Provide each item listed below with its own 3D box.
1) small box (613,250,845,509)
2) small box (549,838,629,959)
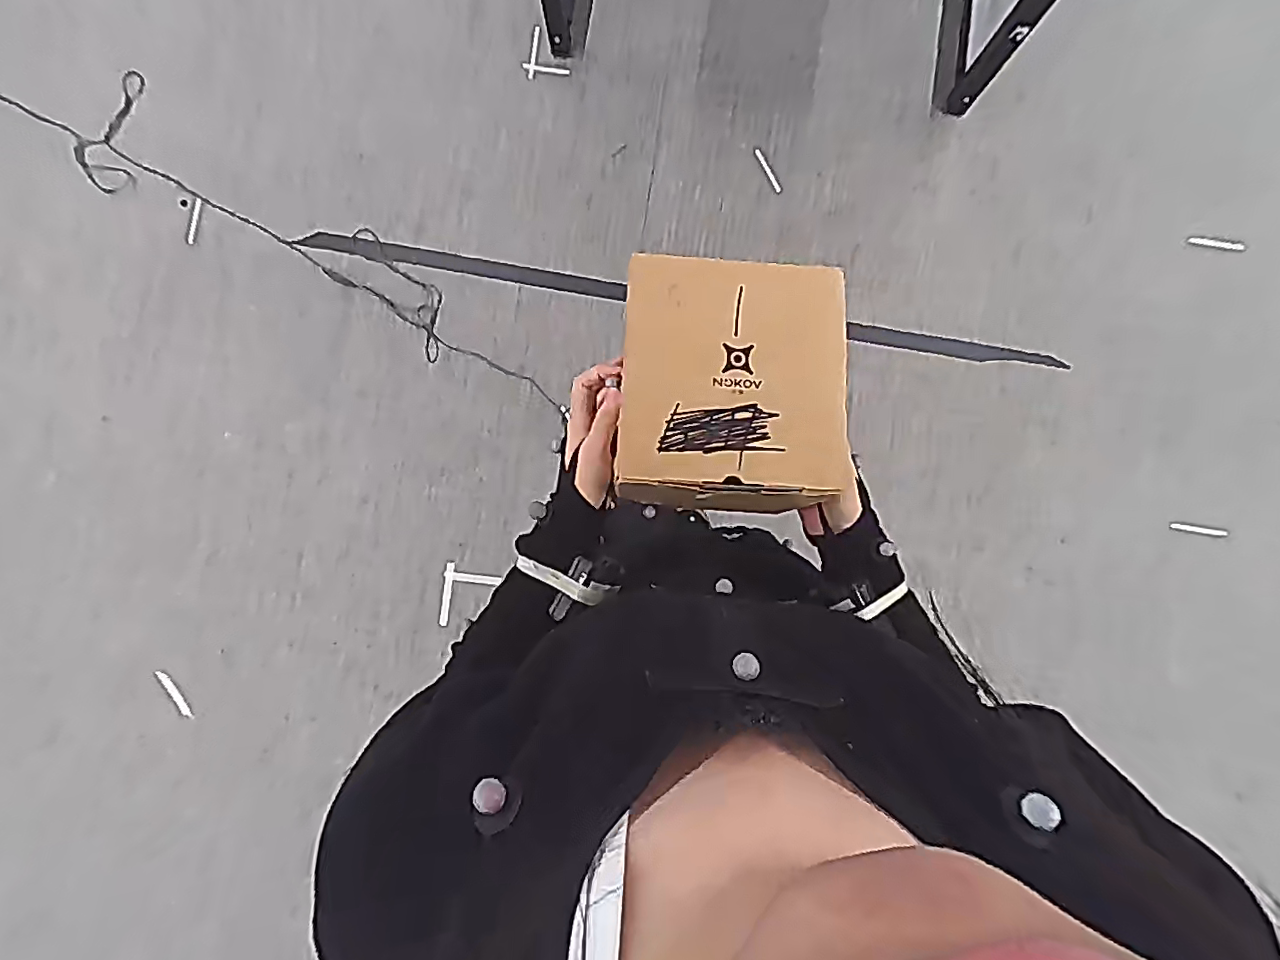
[{"bbox_3d":[0.065,-0.070,0.474,0.168,0.176,0.179,4,80,-2],"label":"small box"},{"bbox_3d":[-0.122,1.060,1.373,0.168,0.176,0.179,12,87,0],"label":"small box"}]
